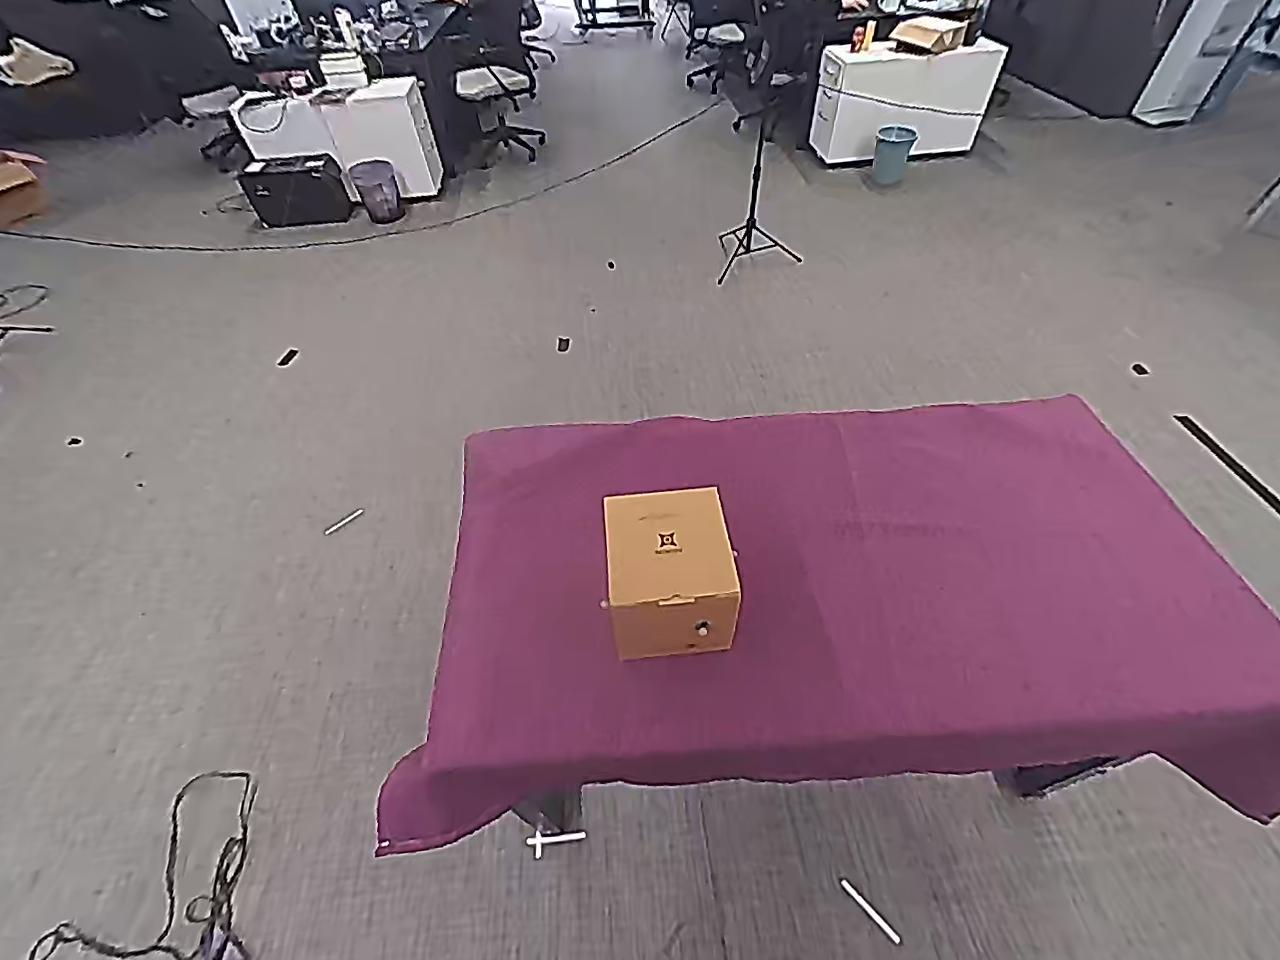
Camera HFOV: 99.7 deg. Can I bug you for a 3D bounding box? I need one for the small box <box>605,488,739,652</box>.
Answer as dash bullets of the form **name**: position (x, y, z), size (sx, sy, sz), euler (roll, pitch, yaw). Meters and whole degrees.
- **small box**: position (0.040, 0.136, 0.780), size (0.168, 0.176, 0.179), euler (-5, 49, -2)
